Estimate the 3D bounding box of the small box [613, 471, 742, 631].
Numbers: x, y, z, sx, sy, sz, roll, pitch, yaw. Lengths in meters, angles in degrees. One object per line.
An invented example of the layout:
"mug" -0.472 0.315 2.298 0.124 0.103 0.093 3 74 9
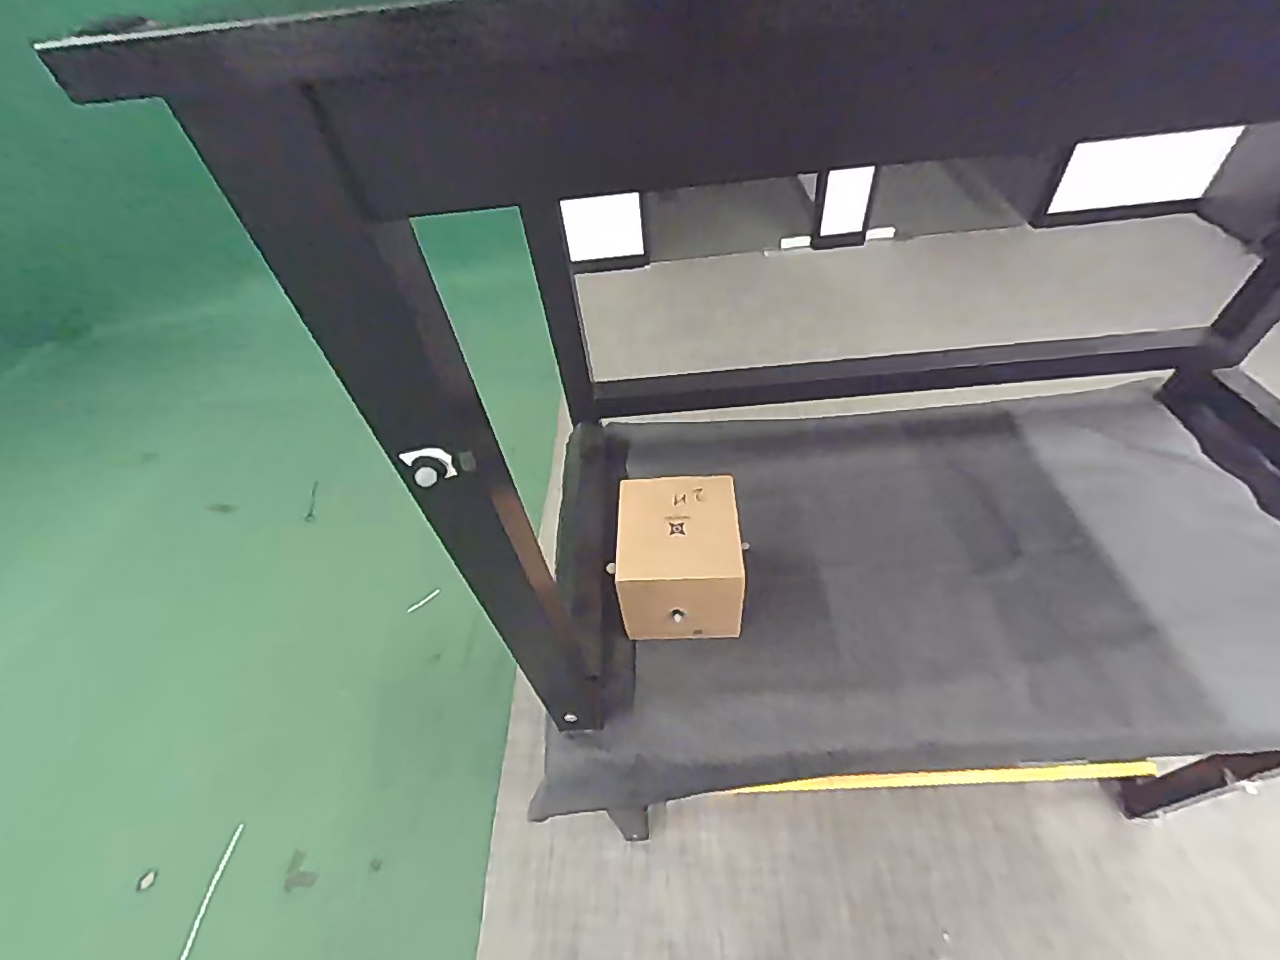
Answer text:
"small box" 0.057 0.108 0.785 0.168 0.176 0.179 -2 48 5
